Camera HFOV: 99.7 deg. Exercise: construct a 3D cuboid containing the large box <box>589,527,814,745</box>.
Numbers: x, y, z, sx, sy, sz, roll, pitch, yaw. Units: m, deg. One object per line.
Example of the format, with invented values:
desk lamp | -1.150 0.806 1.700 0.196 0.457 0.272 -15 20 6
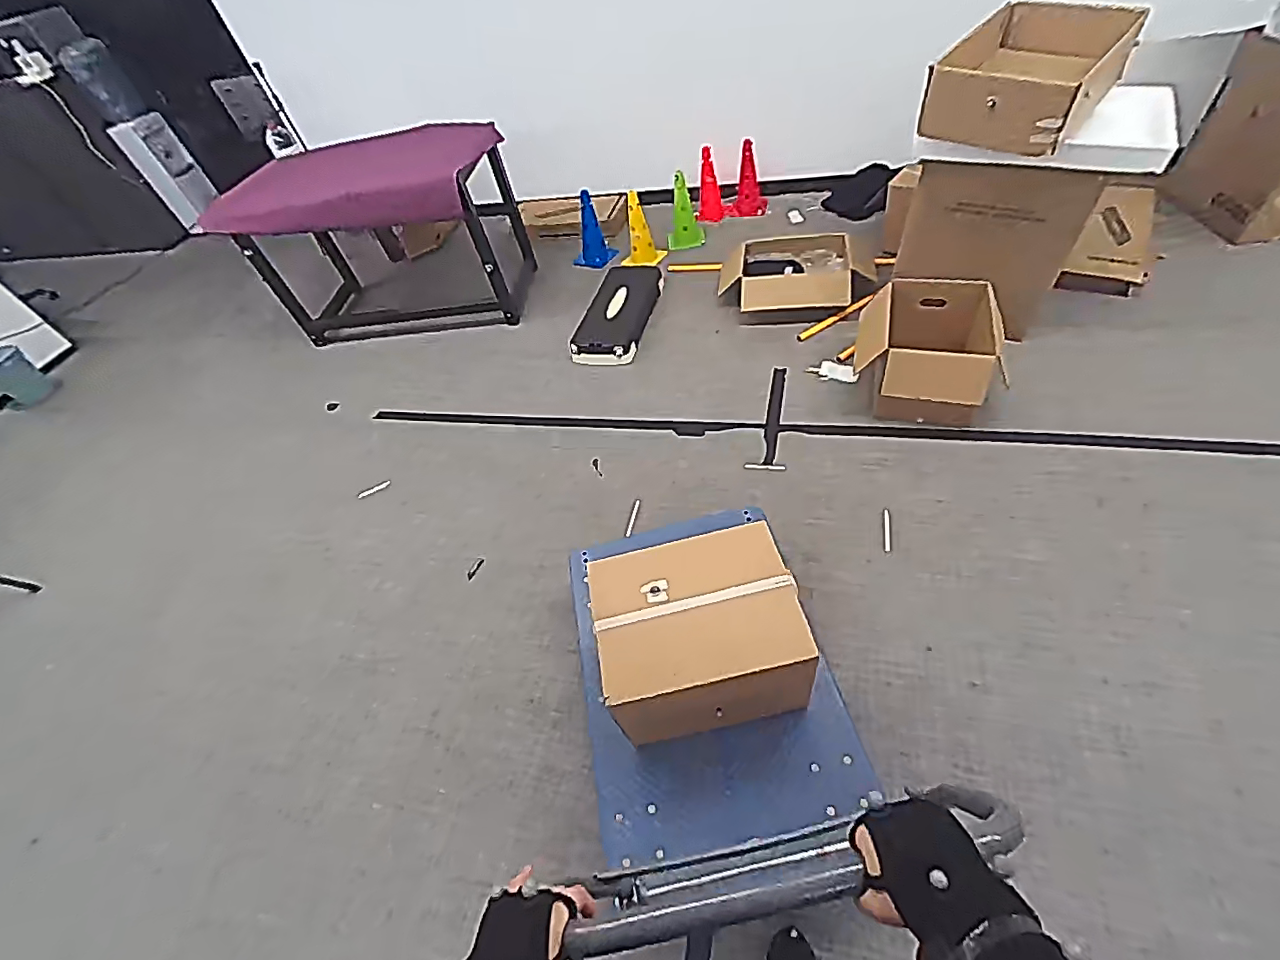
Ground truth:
large box | 0.134 0.357 1.213 0.408 0.320 0.320 -15 49 1
